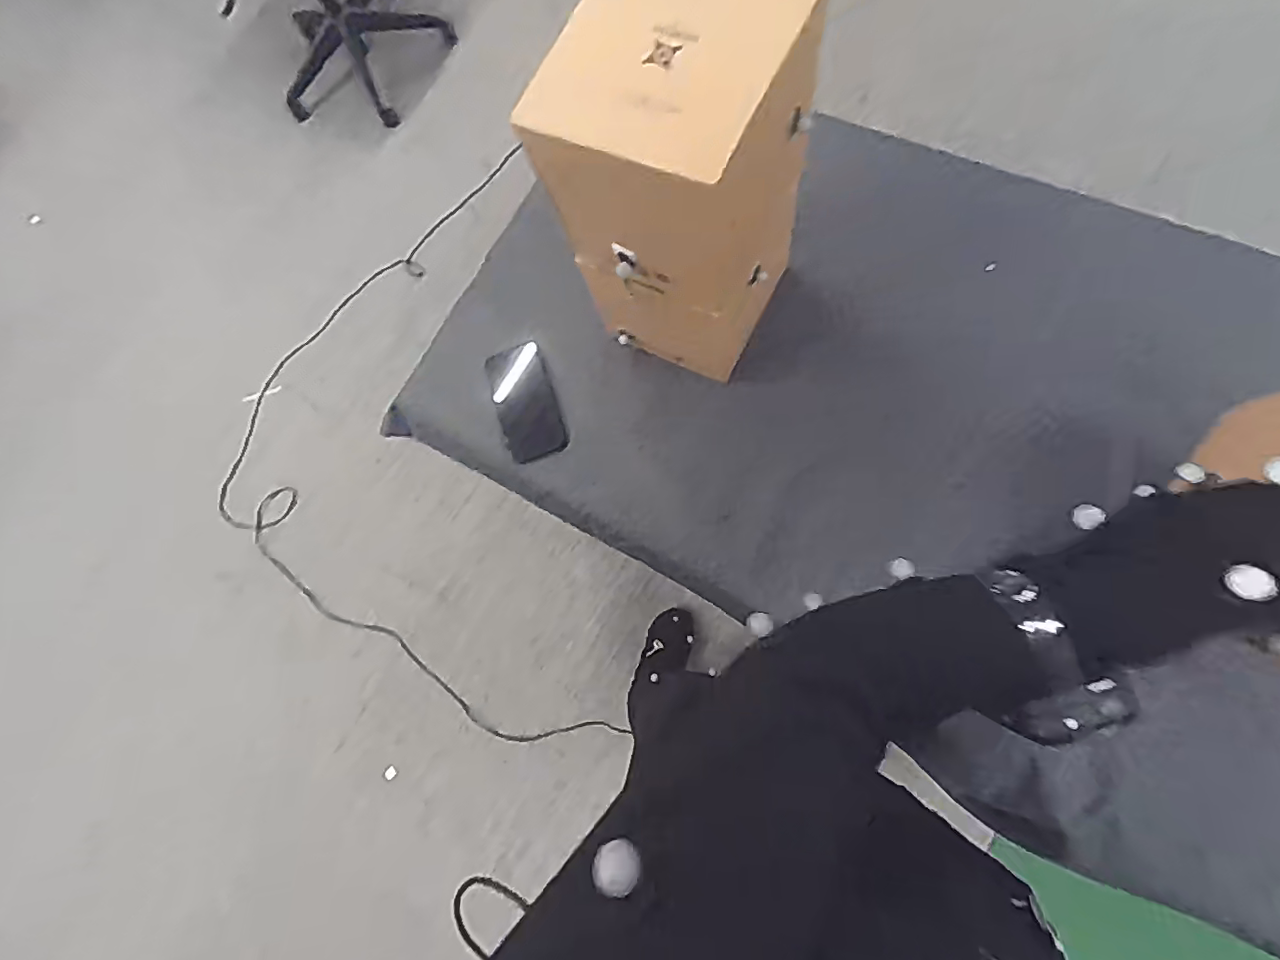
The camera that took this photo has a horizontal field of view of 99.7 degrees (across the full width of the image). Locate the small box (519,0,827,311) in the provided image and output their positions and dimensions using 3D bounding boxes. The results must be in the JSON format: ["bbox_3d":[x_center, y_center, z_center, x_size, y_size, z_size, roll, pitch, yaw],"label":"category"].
[{"bbox_3d":[0.033,-0.279,0.456,0.168,0.176,0.179,25,85,15],"label":"small box"}]

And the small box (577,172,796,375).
[{"bbox_3d":[0.058,-0.246,0.612,0.168,0.176,0.179,26,83,14],"label":"small box"}]
